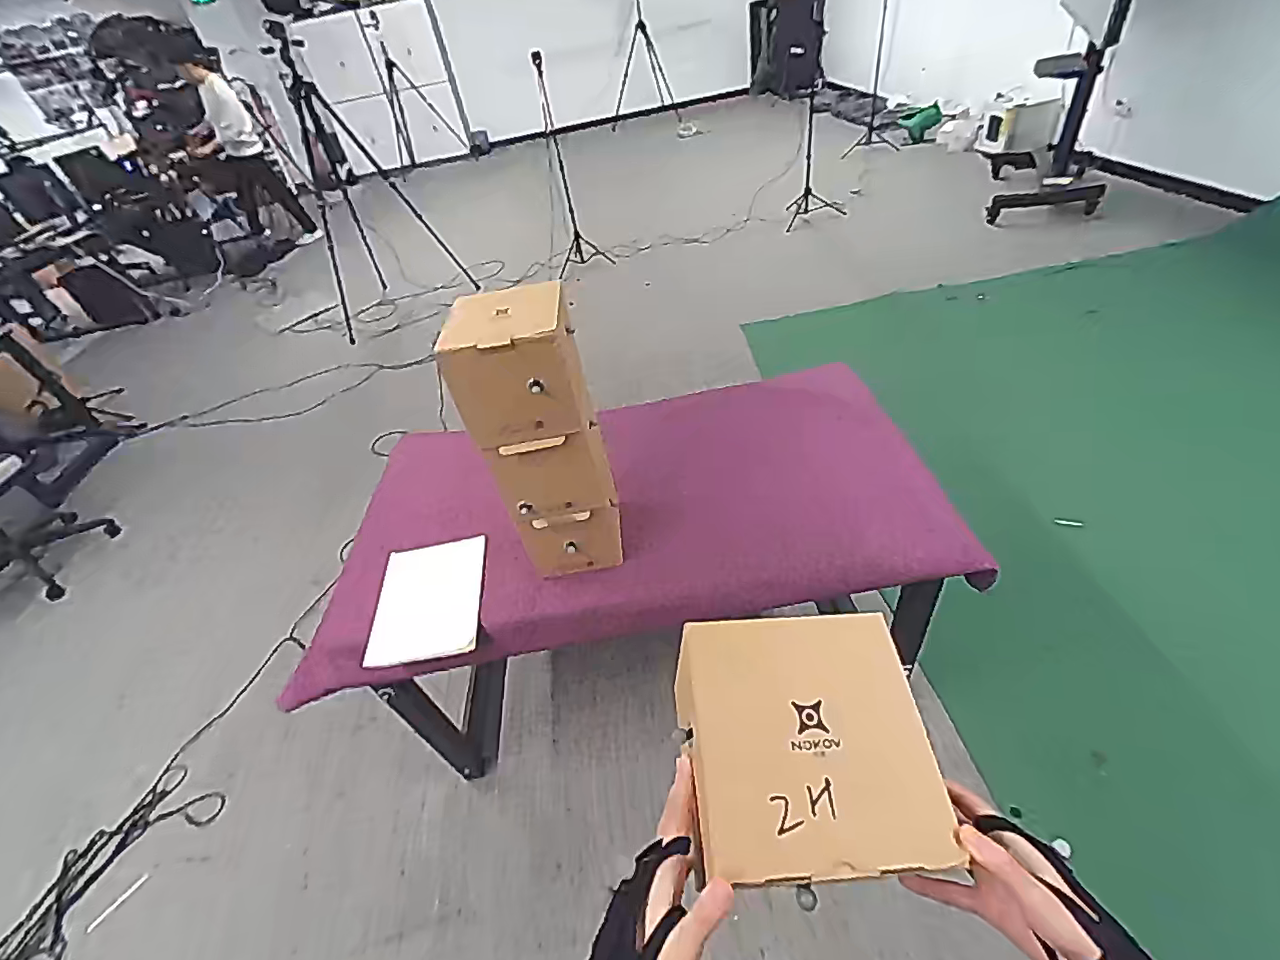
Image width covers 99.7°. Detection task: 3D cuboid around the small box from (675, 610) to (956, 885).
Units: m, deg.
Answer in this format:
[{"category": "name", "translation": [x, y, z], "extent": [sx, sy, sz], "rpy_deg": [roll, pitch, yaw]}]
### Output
[{"category": "small box", "translation": [0.120, 0.229, 0.460], "extent": [0.168, 0.176, 0.179], "rpy_deg": [-2, 51, -1]}]

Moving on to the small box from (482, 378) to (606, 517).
[{"category": "small box", "translation": [-0.155, -0.051, 0.932], "extent": [0.168, 0.176, 0.179], "rpy_deg": [-9, 41, 3]}]

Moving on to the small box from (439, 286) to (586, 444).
[{"category": "small box", "translation": [-0.179, -0.168, 0.821], "extent": [0.168, 0.176, 0.179], "rpy_deg": [-9, 41, 3]}]

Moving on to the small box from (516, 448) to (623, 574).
[{"category": "small box", "translation": [-0.130, 0.066, 1.046], "extent": [0.168, 0.176, 0.179], "rpy_deg": [-9, 42, 2]}]
